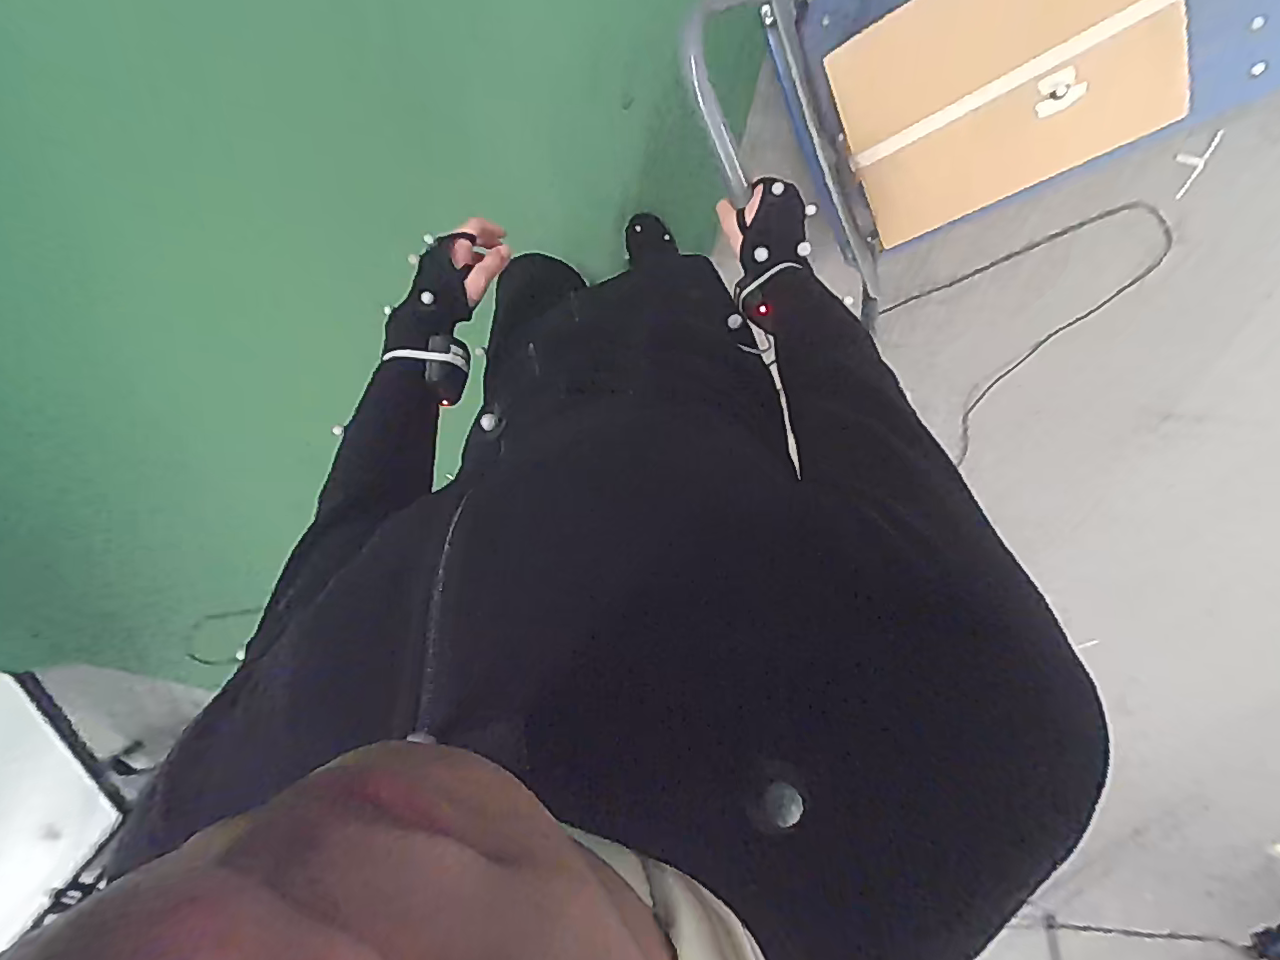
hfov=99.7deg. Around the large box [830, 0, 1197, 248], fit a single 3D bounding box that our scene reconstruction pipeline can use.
[{"bbox_3d":[0.564,-0.652,0.889,0.408,0.320,0.320,-17,119,29],"label":"large box"}]
